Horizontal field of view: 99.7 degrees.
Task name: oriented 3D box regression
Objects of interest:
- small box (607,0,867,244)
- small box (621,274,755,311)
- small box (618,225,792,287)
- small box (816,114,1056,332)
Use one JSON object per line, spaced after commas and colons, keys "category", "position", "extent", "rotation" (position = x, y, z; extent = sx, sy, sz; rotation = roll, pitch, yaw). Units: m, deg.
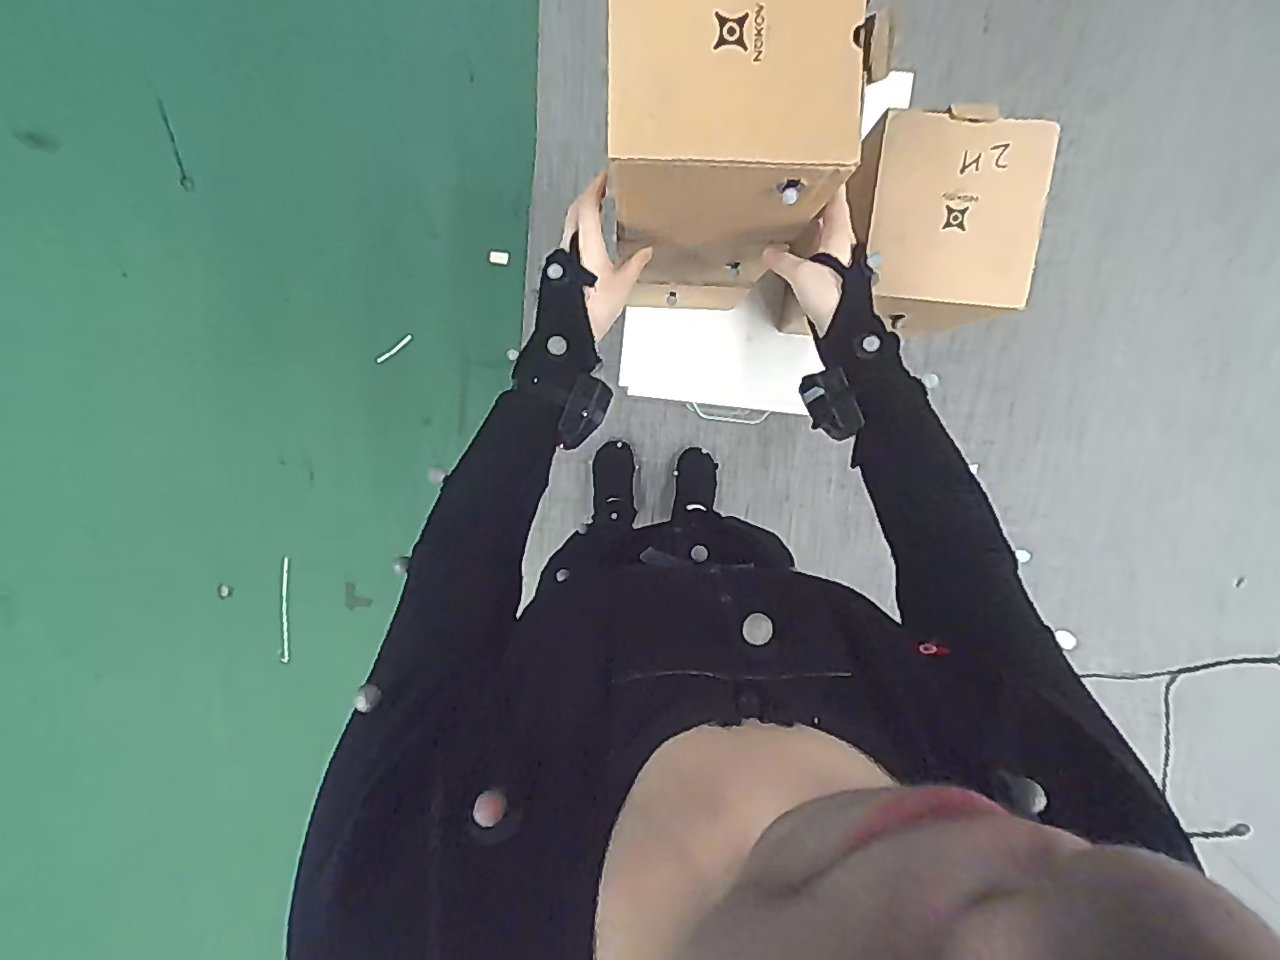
{"category": "small box", "position": [0.065, -0.304, 0.444], "extent": [0.179, 0.176, 0.168], "rotation": [1, 97, -1]}
{"category": "small box", "position": [0.064, -0.340, 0.769], "extent": [0.179, 0.176, 0.168], "rotation": [2, 98, -1]}
{"category": "small box", "position": [0.065, -0.321, 0.607], "extent": [0.179, 0.176, 0.168], "rotation": [0, 97, 0]}
{"category": "small box", "position": [0.310, -0.269, 0.608], "extent": [0.168, 0.176, 0.179], "rotation": [6, 98, 1]}
